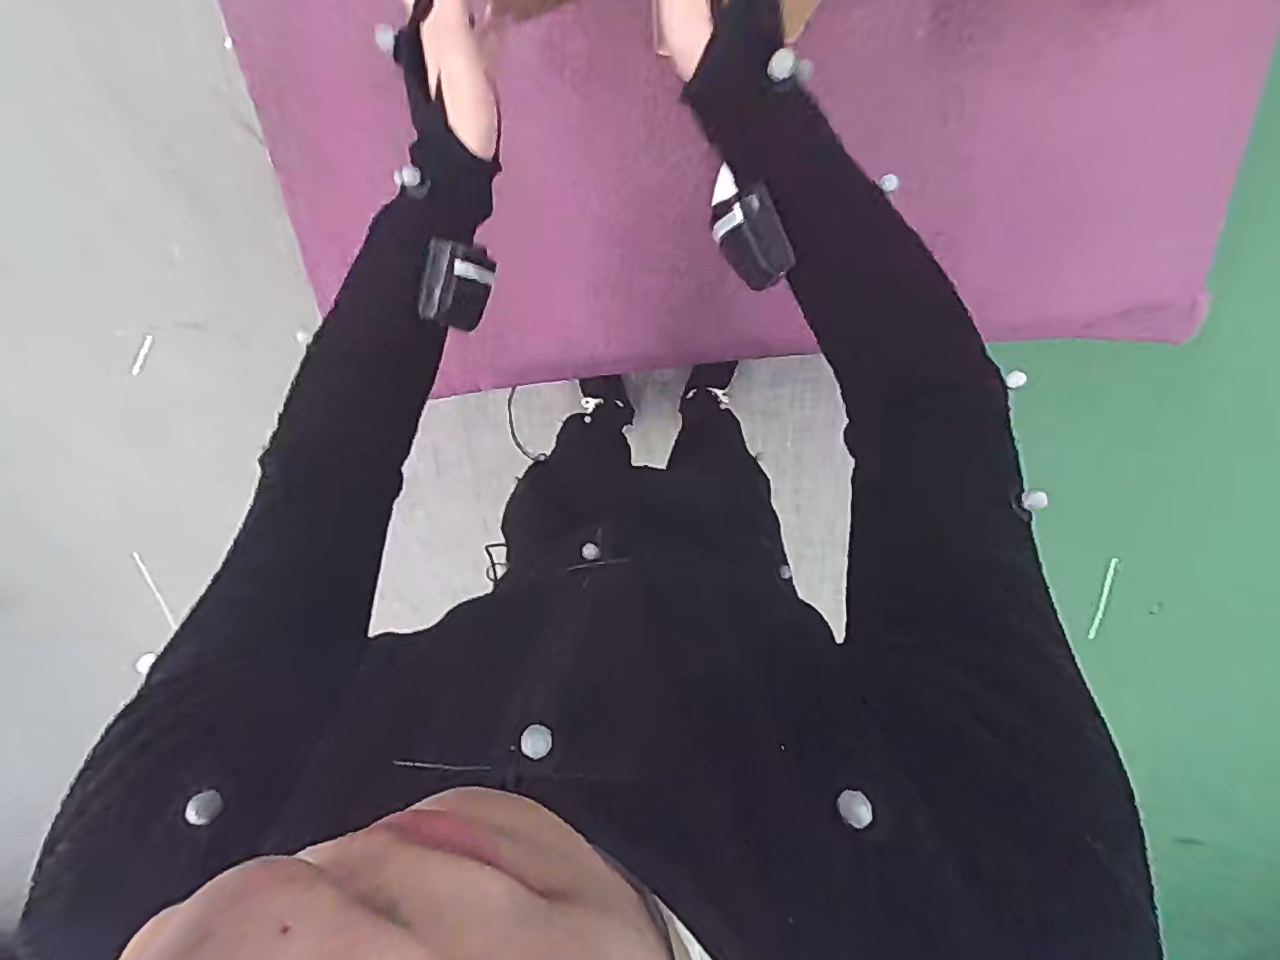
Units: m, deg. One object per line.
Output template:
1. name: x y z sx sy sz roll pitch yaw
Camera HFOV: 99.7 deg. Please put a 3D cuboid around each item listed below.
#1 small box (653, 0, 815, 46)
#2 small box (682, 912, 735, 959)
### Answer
1. small box: 0.093 -0.562 0.526 0.168 0.176 0.179 -4 114 2
2. small box: 0.231 1.613 1.845 0.168 0.176 0.179 -2 114 2
